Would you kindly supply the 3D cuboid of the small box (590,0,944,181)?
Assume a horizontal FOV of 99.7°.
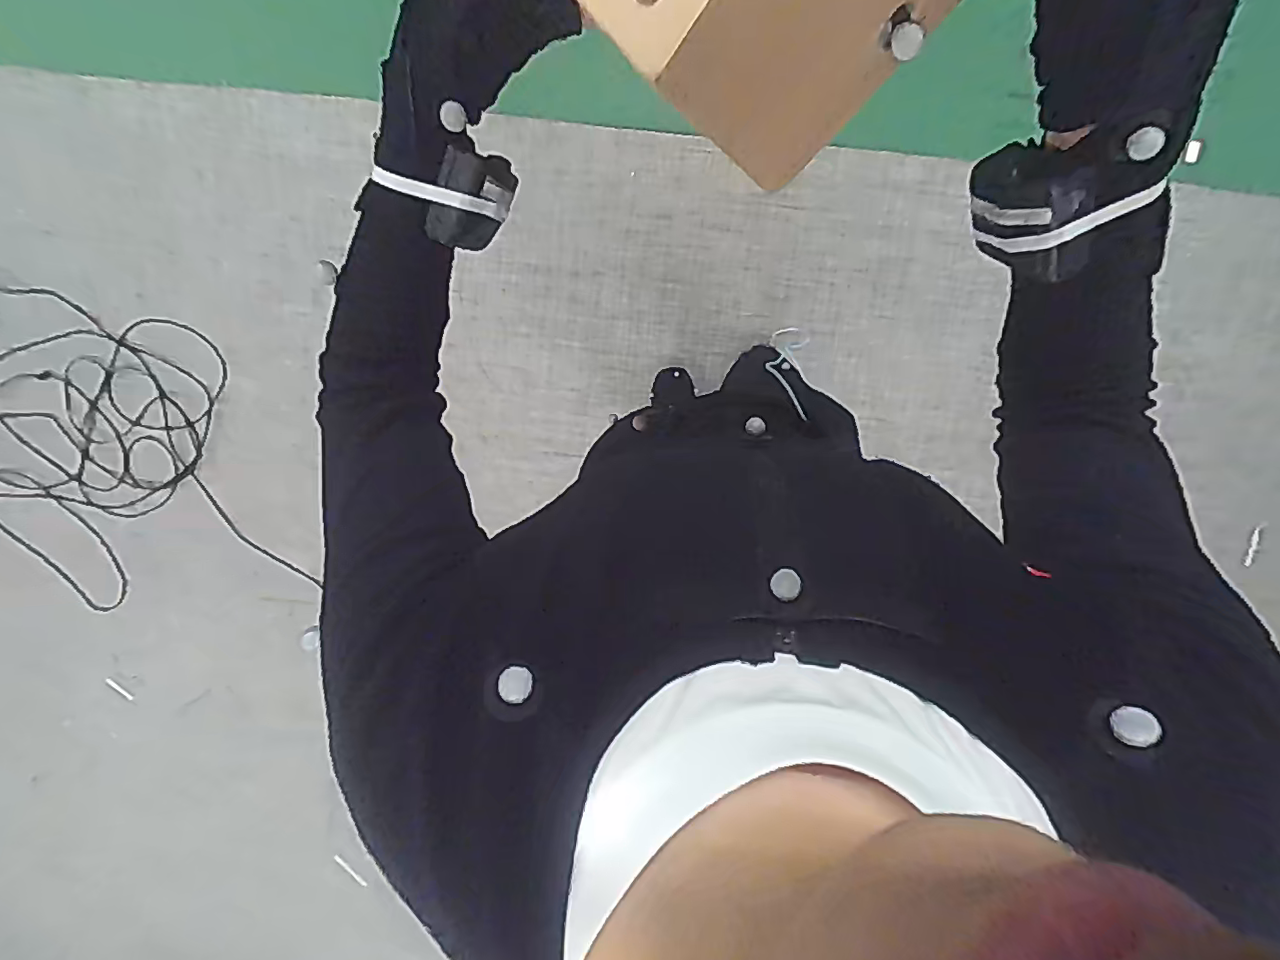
[{"bbox_3d":[0.052,-0.279,0.241,0.179,0.176,0.168,-41,80,28],"label":"small box"}]
